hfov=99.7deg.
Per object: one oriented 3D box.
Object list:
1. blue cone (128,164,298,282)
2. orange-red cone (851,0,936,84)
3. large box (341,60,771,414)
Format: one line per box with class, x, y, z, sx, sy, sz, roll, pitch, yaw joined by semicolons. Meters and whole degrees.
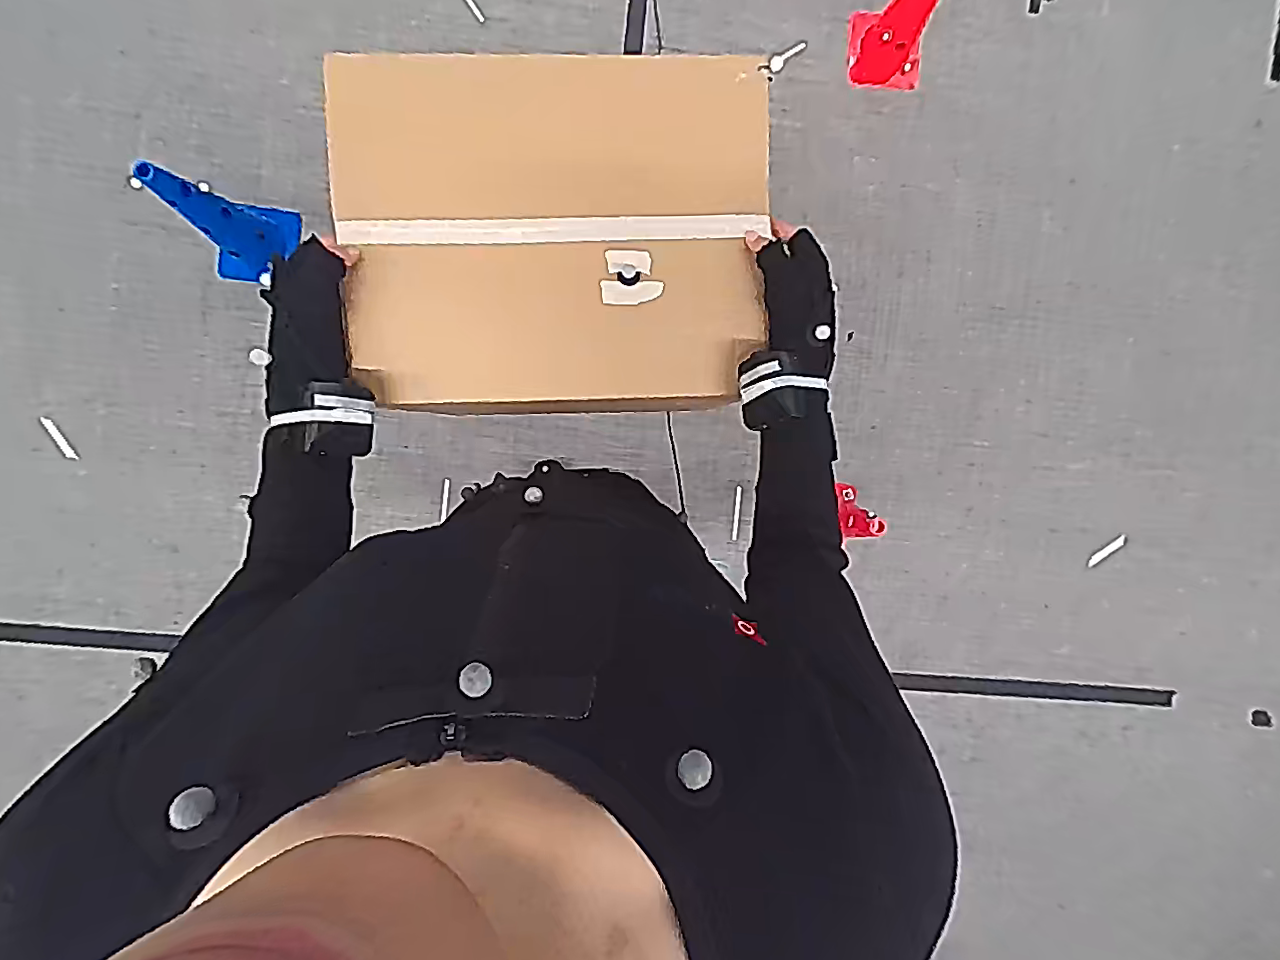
blue cone;-1.006;-0.622;1.271;0.192;0.380;0.193;8;91;-2
orange-red cone;0.688;-1.197;1.316;0.198;0.360;0.199;2;90;-4
large box;-0.083;-0.249;0.663;0.408;0.320;0.320;-1;95;-3
